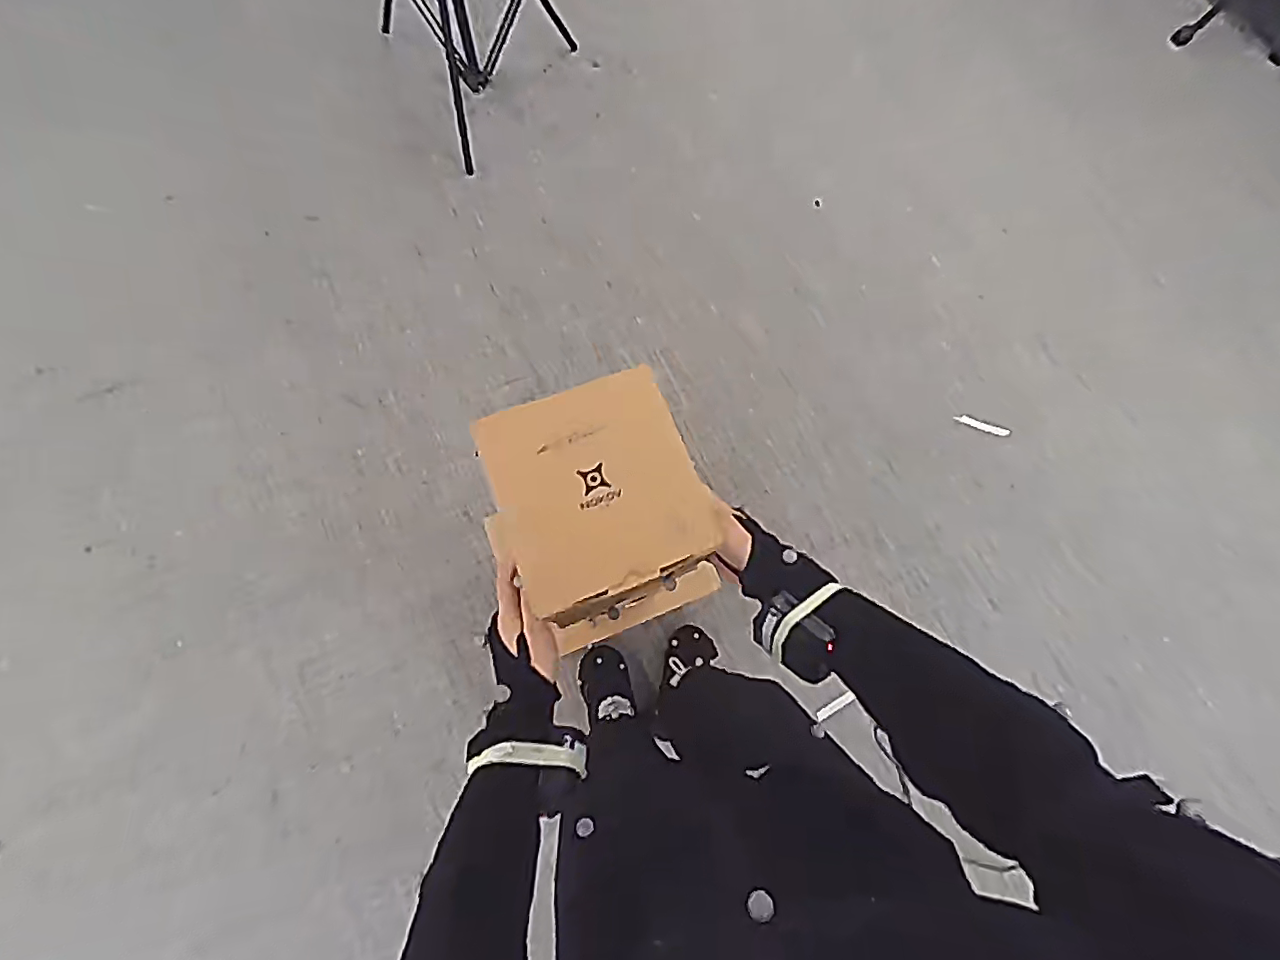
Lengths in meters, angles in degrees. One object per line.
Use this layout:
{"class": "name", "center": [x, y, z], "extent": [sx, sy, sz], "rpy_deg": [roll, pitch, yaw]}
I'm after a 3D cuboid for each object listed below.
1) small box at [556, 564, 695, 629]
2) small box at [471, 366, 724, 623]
{"class": "small box", "center": [-0.048, 0.070, 0.676], "extent": [0.168, 0.176, 0.179], "rpy_deg": [-22, 78, -9]}
{"class": "small box", "center": [-0.041, 0.024, 0.521], "extent": [0.168, 0.176, 0.179], "rpy_deg": [-21, 77, -10]}
